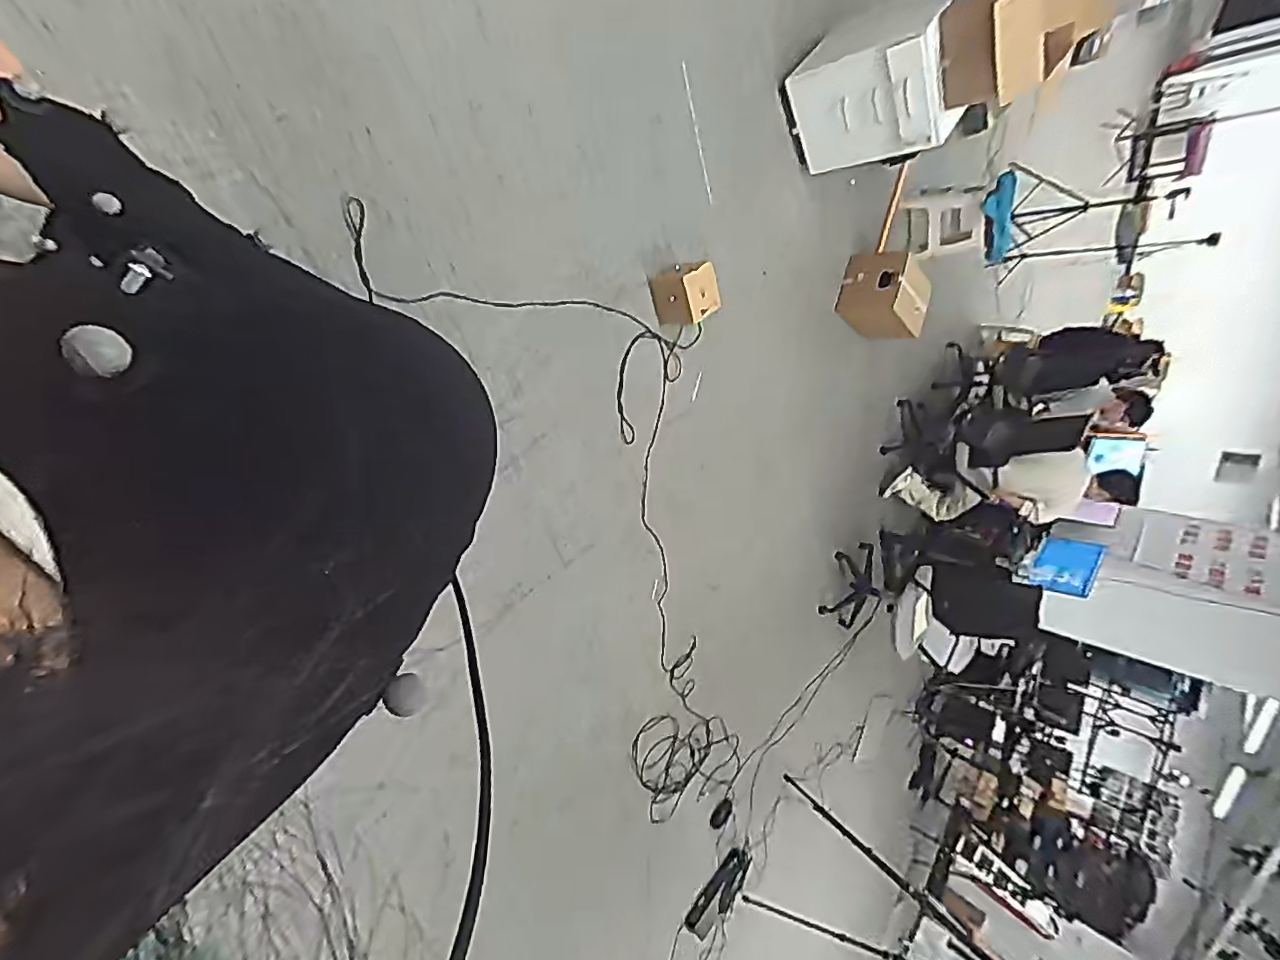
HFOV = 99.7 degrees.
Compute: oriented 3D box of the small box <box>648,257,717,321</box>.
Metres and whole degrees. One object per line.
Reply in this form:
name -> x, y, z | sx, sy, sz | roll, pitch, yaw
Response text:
small box -> 0.155, -0.698, 1.992 | 0.168, 0.176, 0.179 | -40, 126, -30
